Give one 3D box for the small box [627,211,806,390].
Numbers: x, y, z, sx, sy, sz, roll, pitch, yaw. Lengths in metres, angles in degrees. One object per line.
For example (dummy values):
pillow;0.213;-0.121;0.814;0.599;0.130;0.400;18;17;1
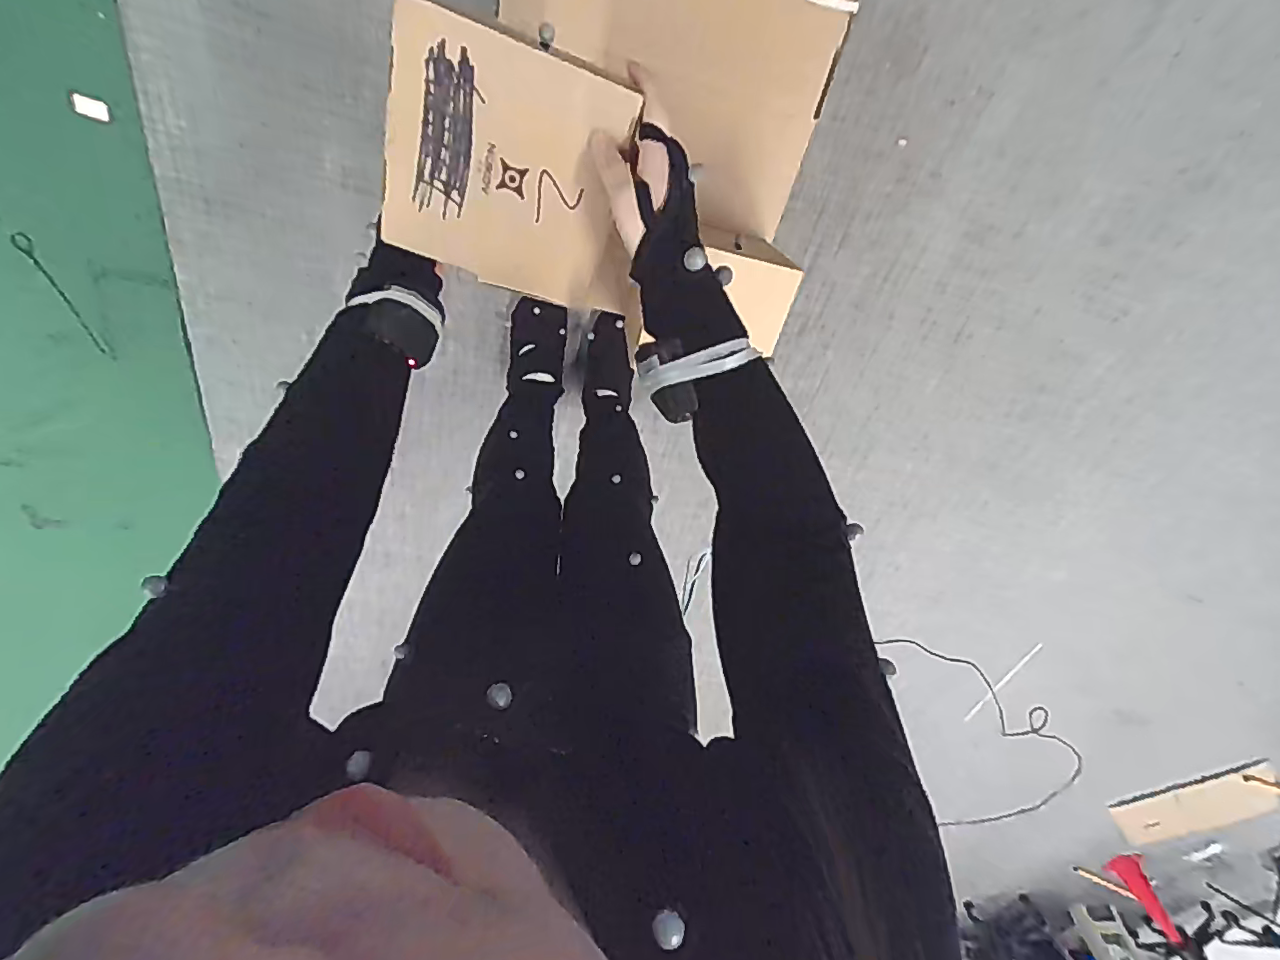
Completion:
small box;0.088;-0.244;0.726;0.179;0.176;0.168;10;124;-11
